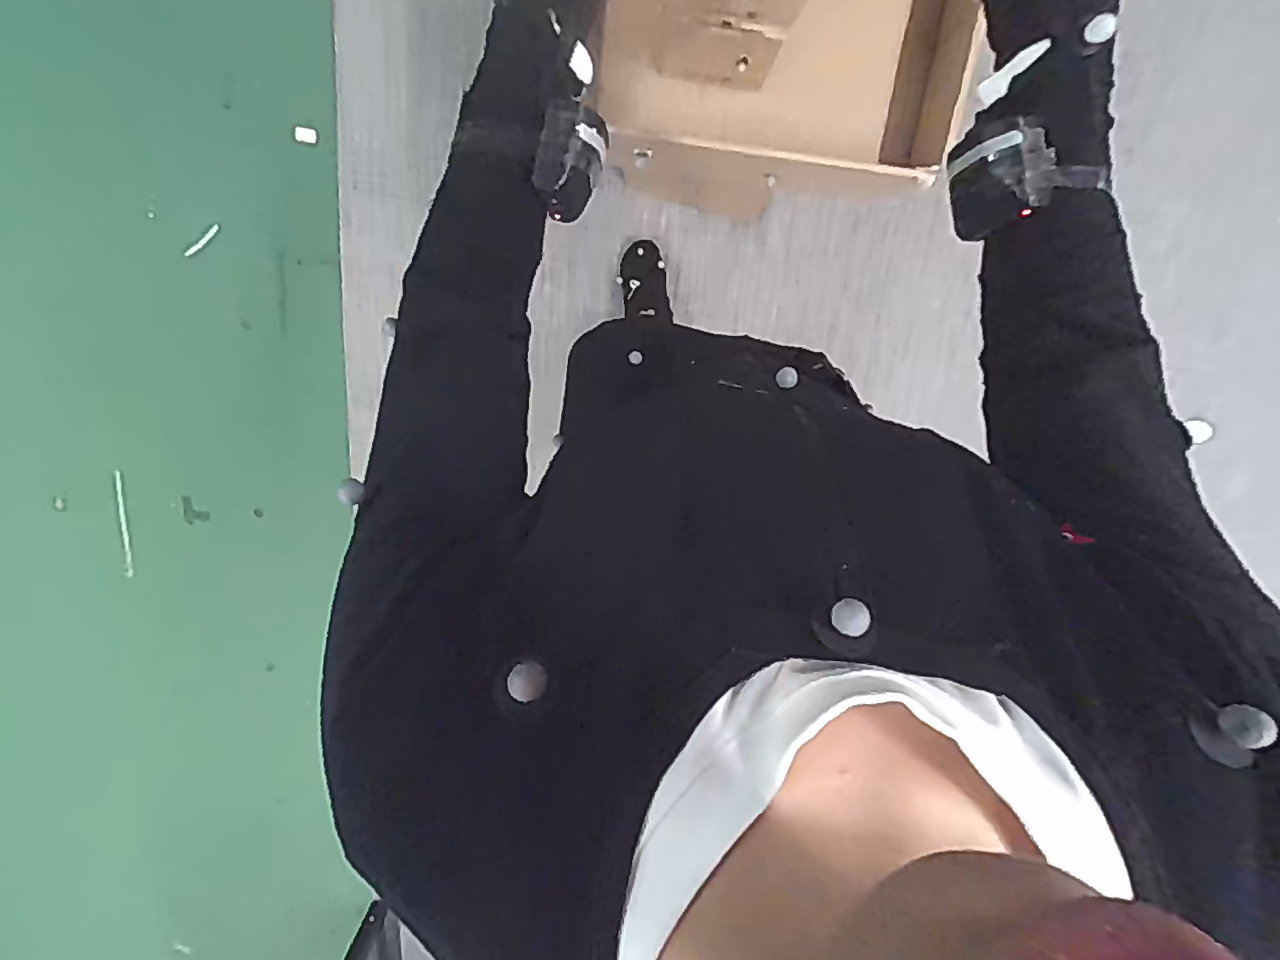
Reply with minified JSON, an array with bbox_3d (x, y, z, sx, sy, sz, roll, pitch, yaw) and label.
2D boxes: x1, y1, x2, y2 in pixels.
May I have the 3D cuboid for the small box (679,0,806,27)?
[{"bbox_3d":[0.130,-0.656,0.607,0.168,0.176,0.179,4,105,-3],"label":"small box"}]

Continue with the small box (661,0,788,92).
[{"bbox_3d":[0.123,-0.691,0.767,0.168,0.176,0.179,7,103,-3],"label":"small box"}]
